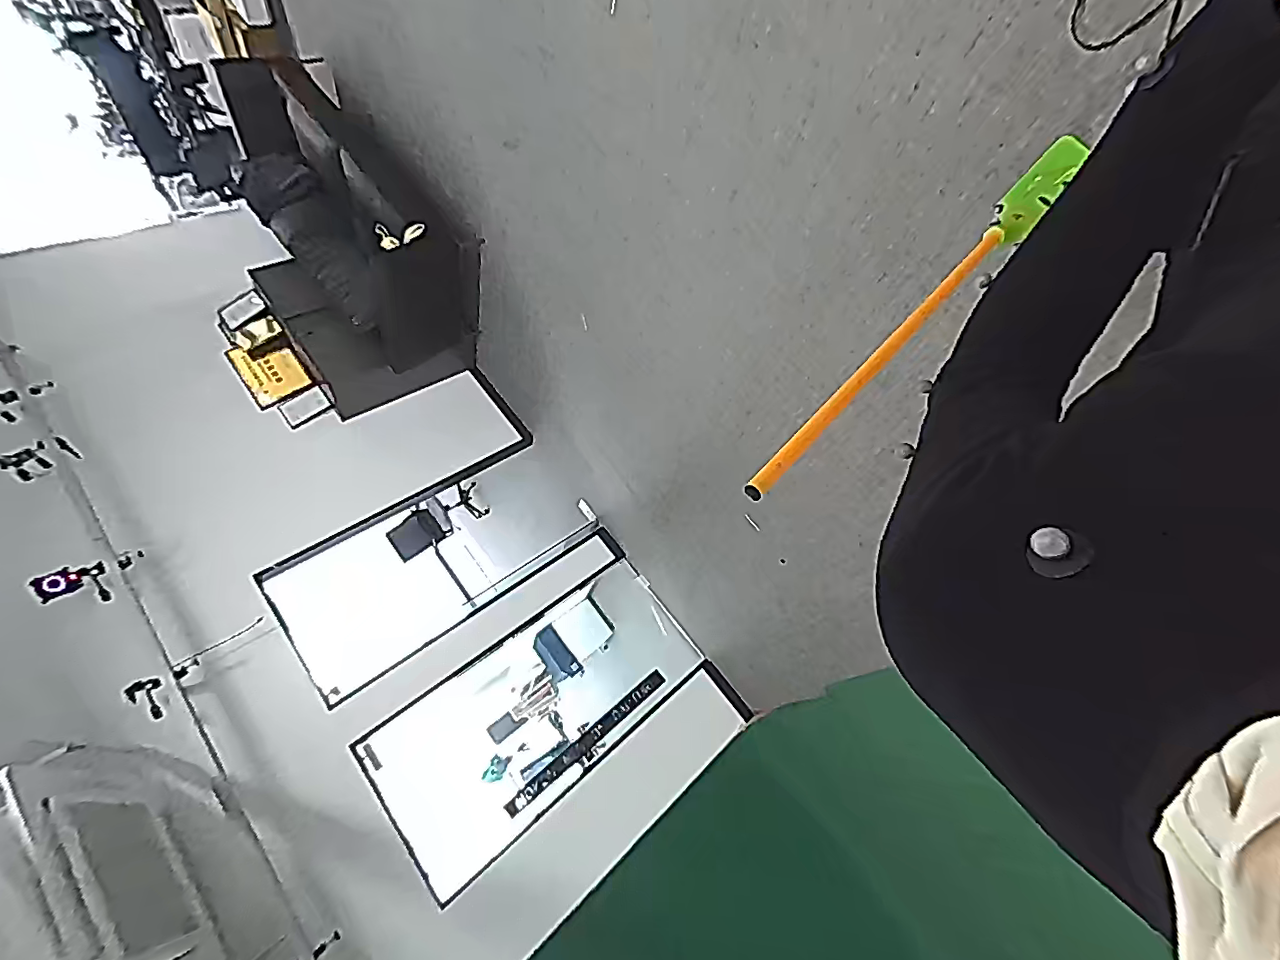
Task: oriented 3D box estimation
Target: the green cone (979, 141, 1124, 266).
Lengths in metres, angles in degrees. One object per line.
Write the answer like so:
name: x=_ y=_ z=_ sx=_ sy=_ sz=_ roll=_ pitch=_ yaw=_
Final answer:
green cone: x=0.811 y=-0.547 z=1.145 sx=0.200 sy=0.368 sz=0.202 roll=51 pitch=148 yaw=12
